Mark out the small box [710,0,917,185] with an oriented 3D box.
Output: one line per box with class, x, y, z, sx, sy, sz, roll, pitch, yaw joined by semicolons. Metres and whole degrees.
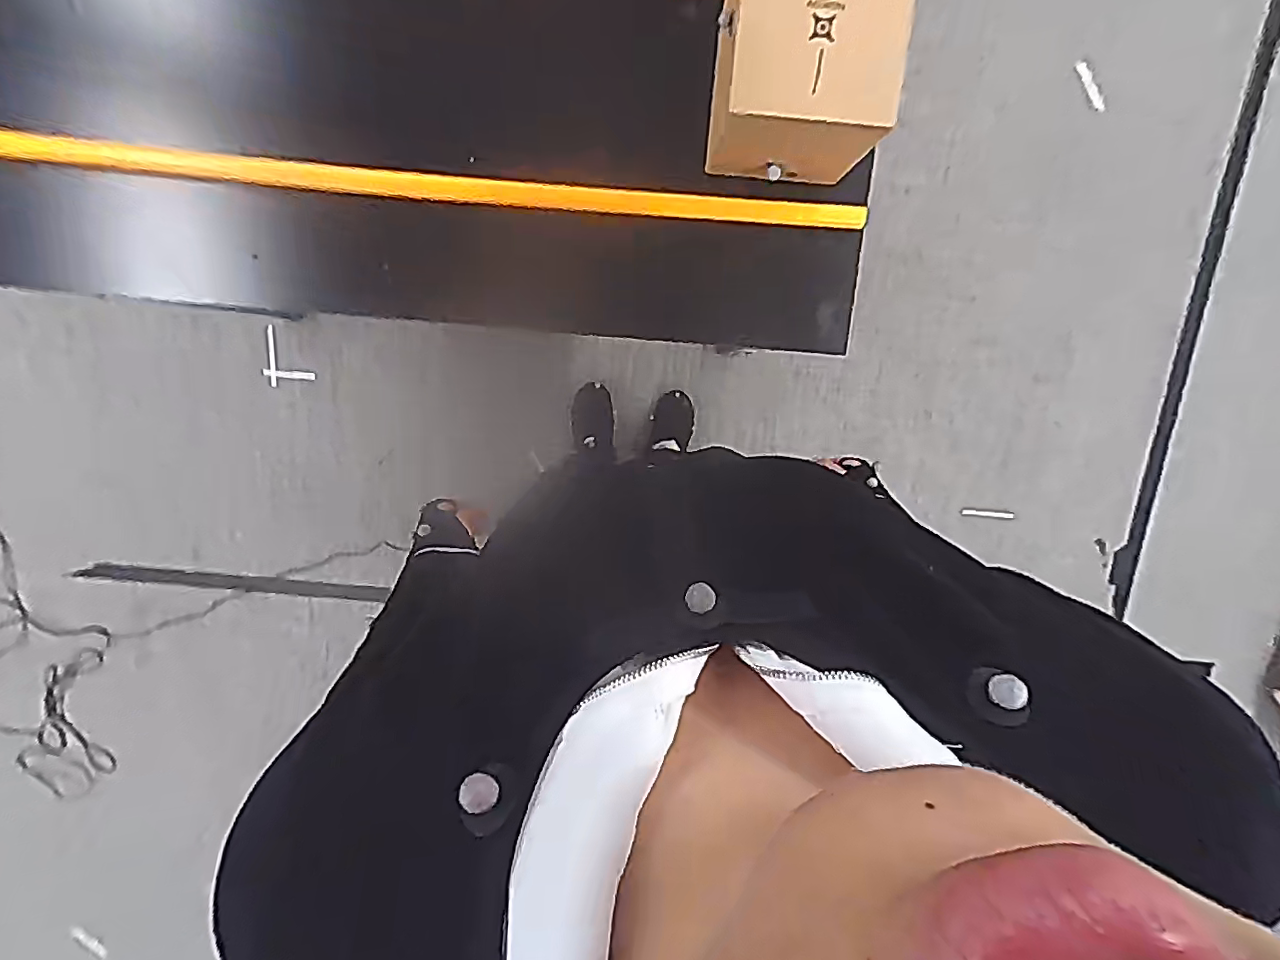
small box;0.175;-0.450;0.586;0.168;0.176;0.179;5;102;-2
